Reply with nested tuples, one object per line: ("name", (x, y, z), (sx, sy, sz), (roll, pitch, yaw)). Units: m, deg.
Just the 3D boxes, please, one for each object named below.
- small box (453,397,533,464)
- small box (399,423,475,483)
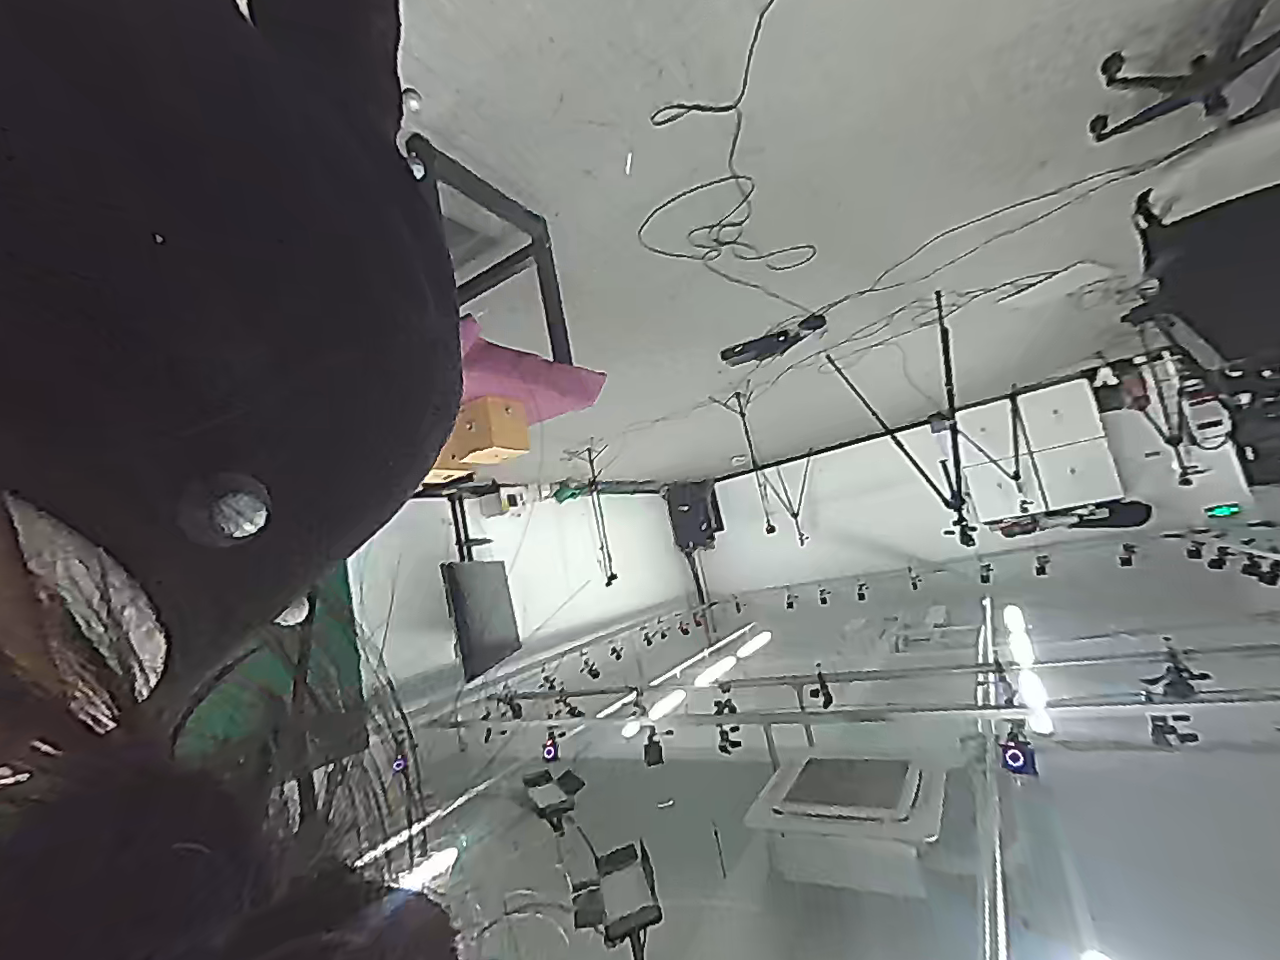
("small box", (-0.474, -0.158, 1.733), (0.168, 0.176, 0.179), (-16, 170, 27))
("small box", (-0.700, -0.092, 1.861), (0.168, 0.176, 0.179), (-17, 169, 33))
